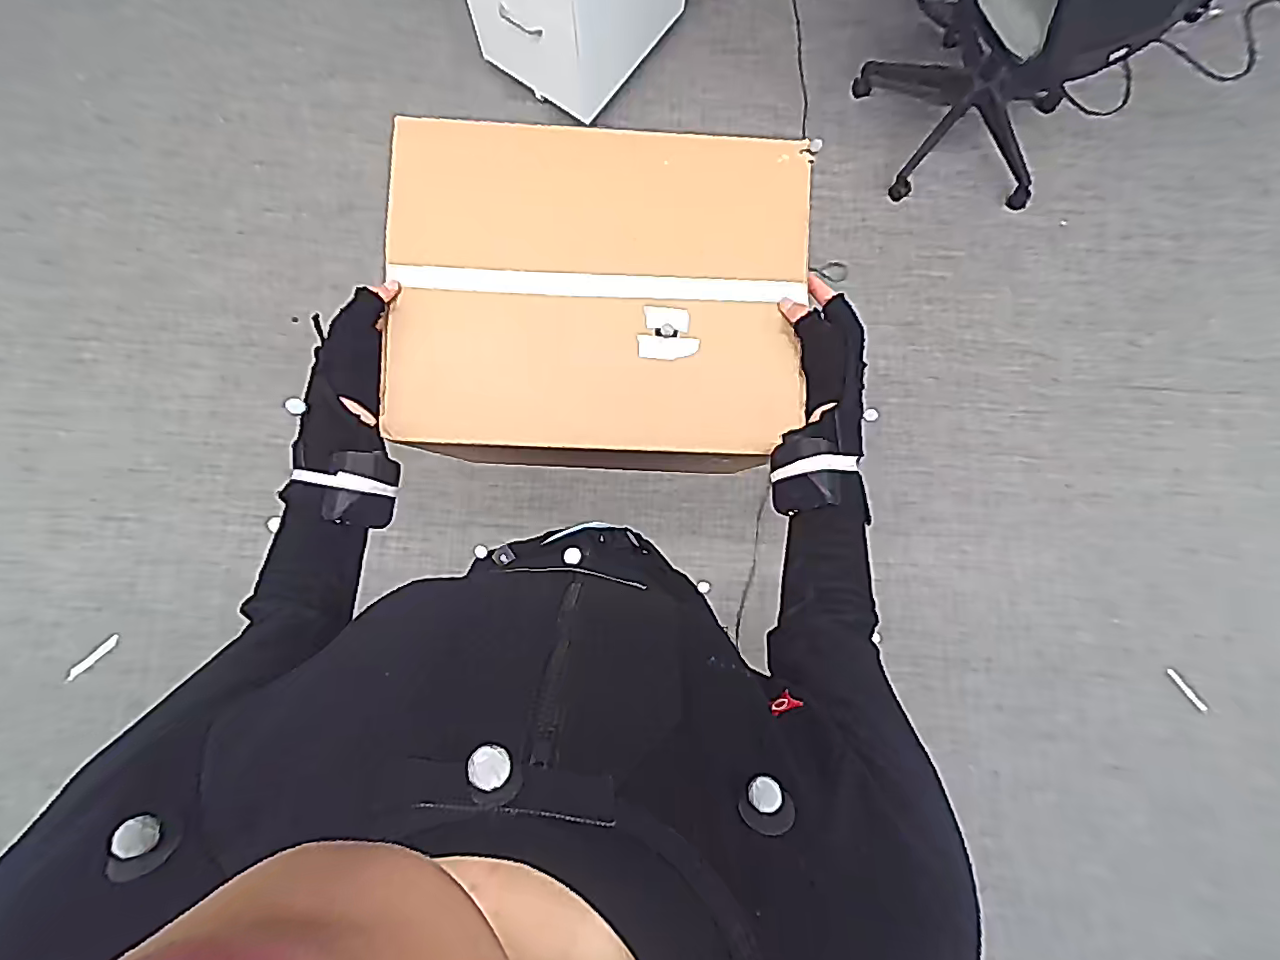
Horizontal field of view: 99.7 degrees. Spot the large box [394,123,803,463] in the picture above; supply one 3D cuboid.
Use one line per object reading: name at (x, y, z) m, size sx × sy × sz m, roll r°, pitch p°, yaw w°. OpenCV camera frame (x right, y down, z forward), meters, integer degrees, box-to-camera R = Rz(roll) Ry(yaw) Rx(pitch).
large box at (-0.045, -0.189, 0.683) m, size 0.408 × 0.320 × 0.320 m, roll 3°, pitch 89°, yaw -3°
